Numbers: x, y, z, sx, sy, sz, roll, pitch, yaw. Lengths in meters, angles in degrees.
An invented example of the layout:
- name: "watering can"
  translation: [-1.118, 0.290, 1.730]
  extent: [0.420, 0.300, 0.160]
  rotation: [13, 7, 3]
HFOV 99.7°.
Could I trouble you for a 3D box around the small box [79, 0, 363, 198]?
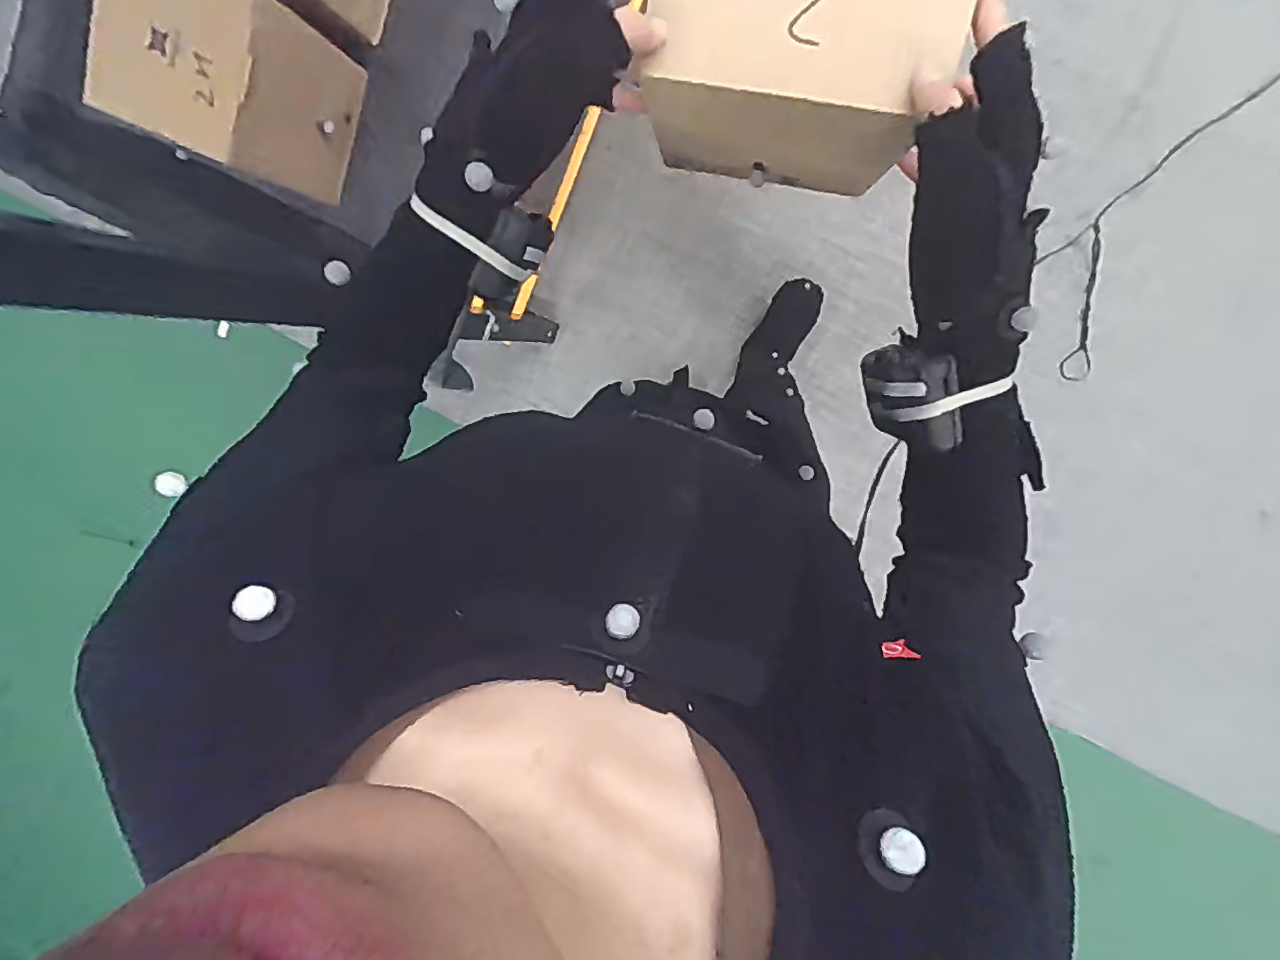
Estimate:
- name: "small box"
  translation: [-0.459, -0.448, 0.612]
  extent: [0.179, 0.176, 0.168]
  rotation: [24, 106, 3]
